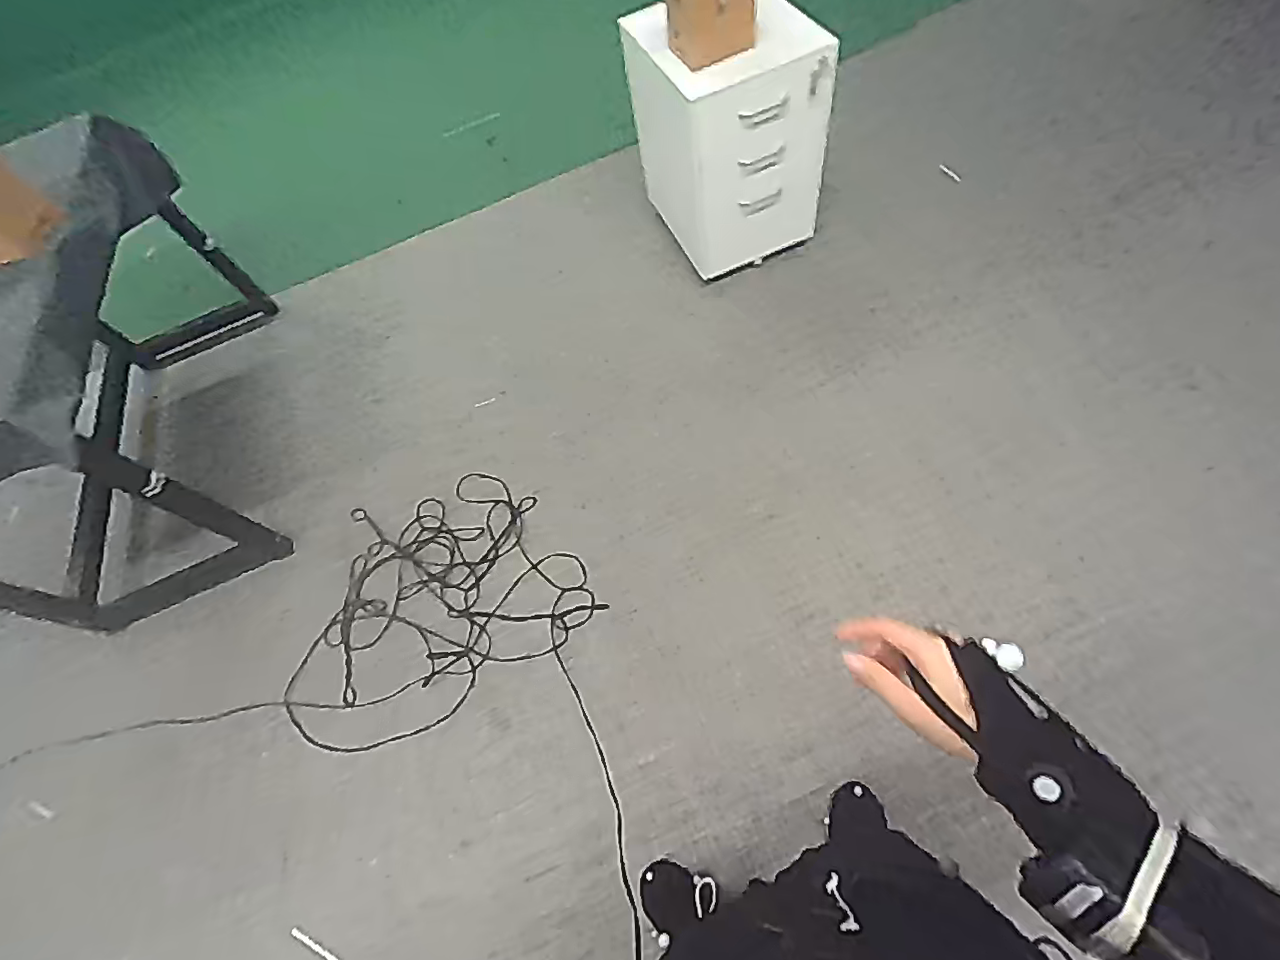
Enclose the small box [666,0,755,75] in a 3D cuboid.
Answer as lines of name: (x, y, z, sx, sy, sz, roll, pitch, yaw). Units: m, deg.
small box: (0.168, -1.138, 1.316, 0.179, 0.176, 0.168, -24, 61, -2)
